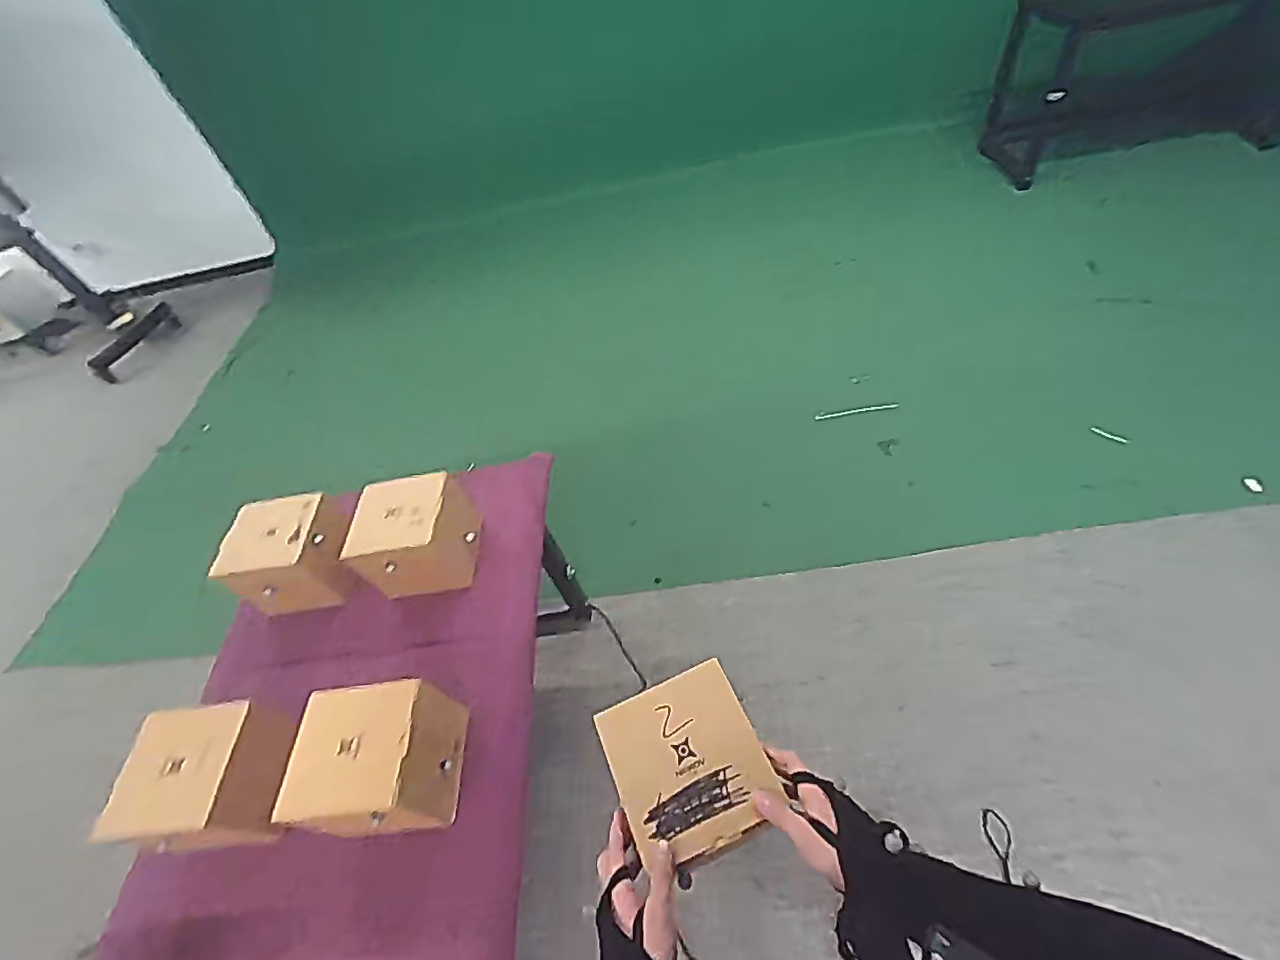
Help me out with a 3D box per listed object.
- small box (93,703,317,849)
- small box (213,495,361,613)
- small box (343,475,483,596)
[{"bbox_3d":[-0.654,0.464,0.840,0.179,0.176,0.168,-9,51,5],"label":"small box"},{"bbox_3d":[-0.693,0.156,1.097,0.179,0.176,0.168,-10,51,5],"label":"small box"},{"bbox_3d":[-0.436,0.115,1.067,0.179,0.176,0.168,-9,51,8],"label":"small box"}]
